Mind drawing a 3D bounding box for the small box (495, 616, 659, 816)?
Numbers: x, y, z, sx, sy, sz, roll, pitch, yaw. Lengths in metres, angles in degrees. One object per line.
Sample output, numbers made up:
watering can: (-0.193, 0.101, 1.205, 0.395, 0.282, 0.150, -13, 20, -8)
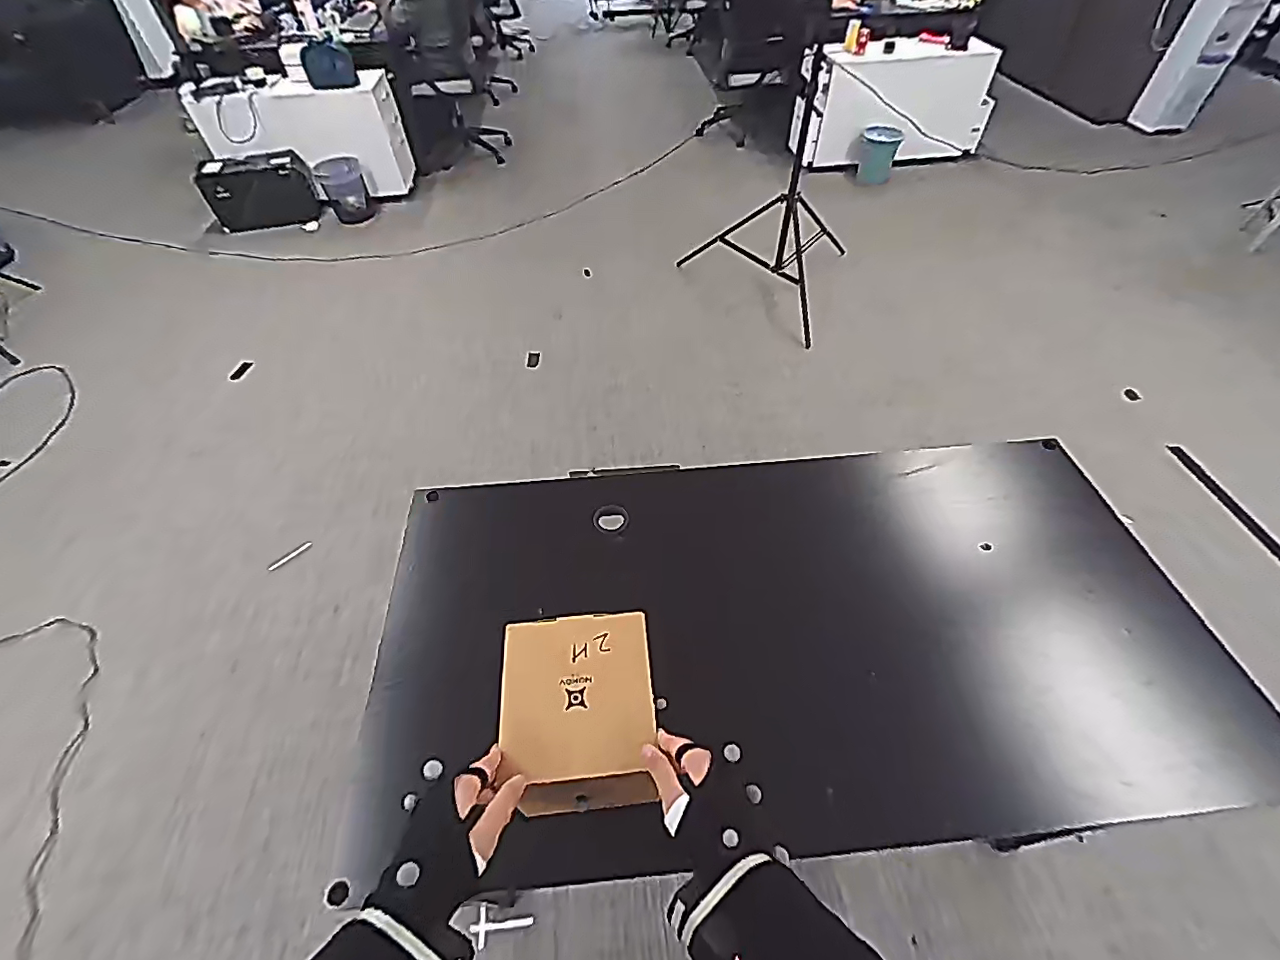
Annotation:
small box: (-0.067, 0.288, 0.648, 0.168, 0.176, 0.179, -6, 49, -3)
